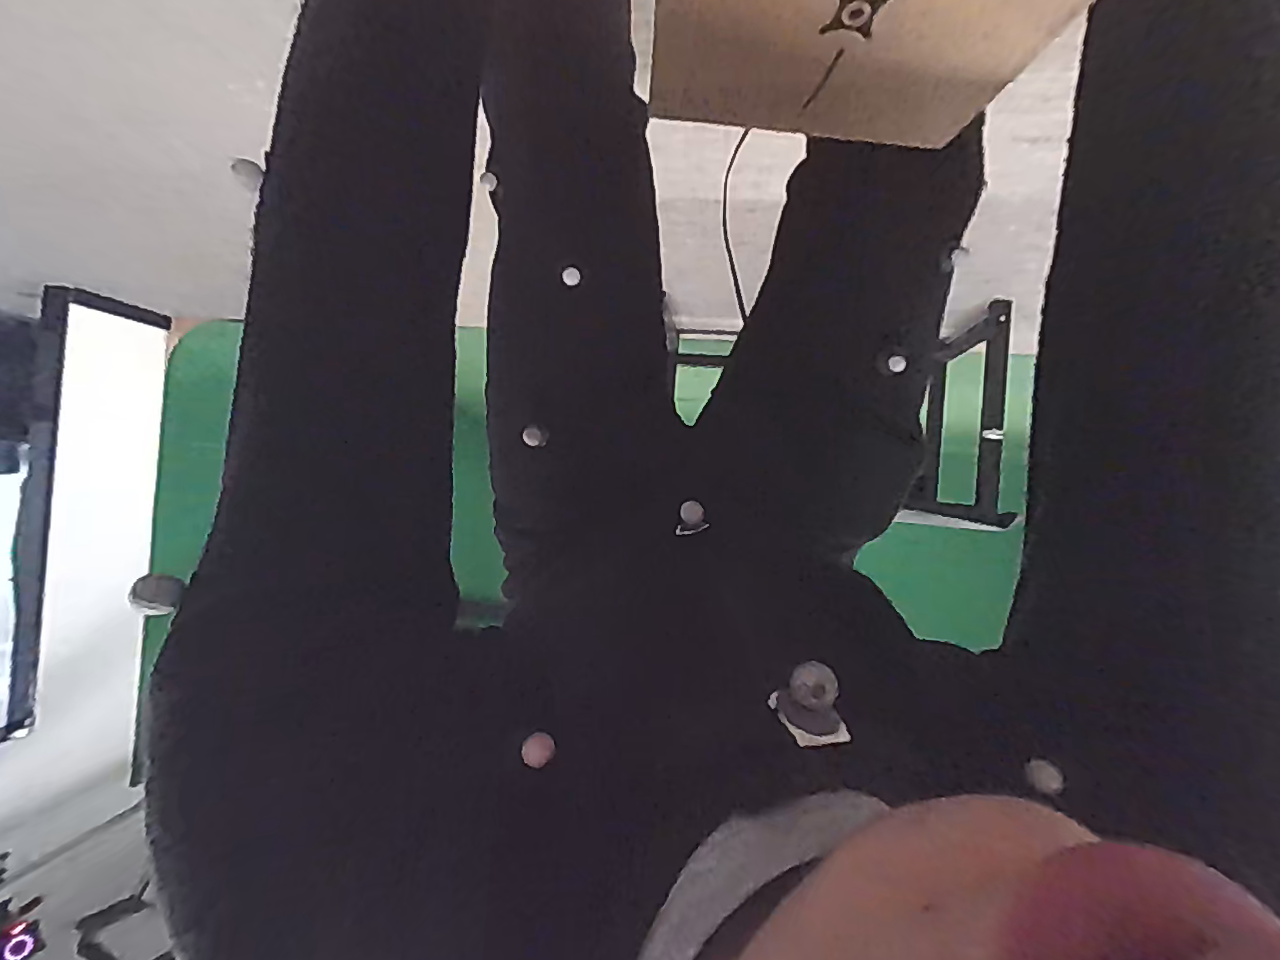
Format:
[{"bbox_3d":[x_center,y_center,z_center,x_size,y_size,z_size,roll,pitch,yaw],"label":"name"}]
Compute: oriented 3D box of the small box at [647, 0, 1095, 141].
[{"bbox_3d":[0.094,-0.266,0.200,0.168,0.176,0.179,5,-177,-3],"label":"small box"}]
